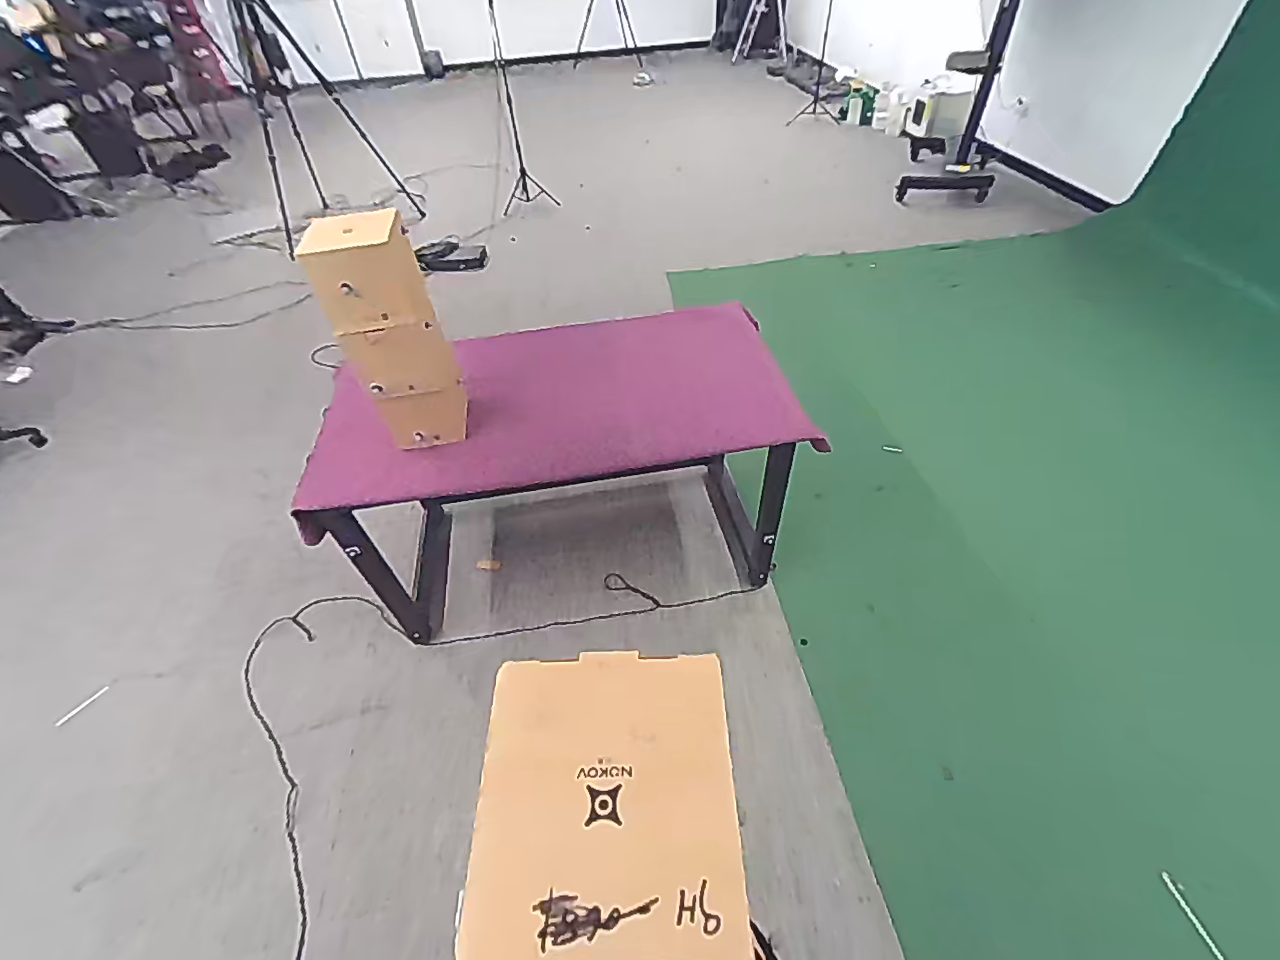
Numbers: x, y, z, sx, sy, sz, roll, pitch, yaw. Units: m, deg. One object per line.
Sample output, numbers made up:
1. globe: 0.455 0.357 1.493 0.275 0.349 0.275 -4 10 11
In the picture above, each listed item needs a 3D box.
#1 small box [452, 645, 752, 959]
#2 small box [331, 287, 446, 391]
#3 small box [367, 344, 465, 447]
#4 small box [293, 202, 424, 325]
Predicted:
1. small box: -0.017 0.241 0.402 0.168 0.176 0.179 -3 49 3
2. small box: -0.537 -0.308 1.182 0.168 0.176 0.179 -9 46 -4
3. small box: -0.530 -0.203 1.308 0.168 0.176 0.179 -9 47 -4
4. small box: -0.539 -0.419 1.064 0.168 0.176 0.179 -11 46 -6
